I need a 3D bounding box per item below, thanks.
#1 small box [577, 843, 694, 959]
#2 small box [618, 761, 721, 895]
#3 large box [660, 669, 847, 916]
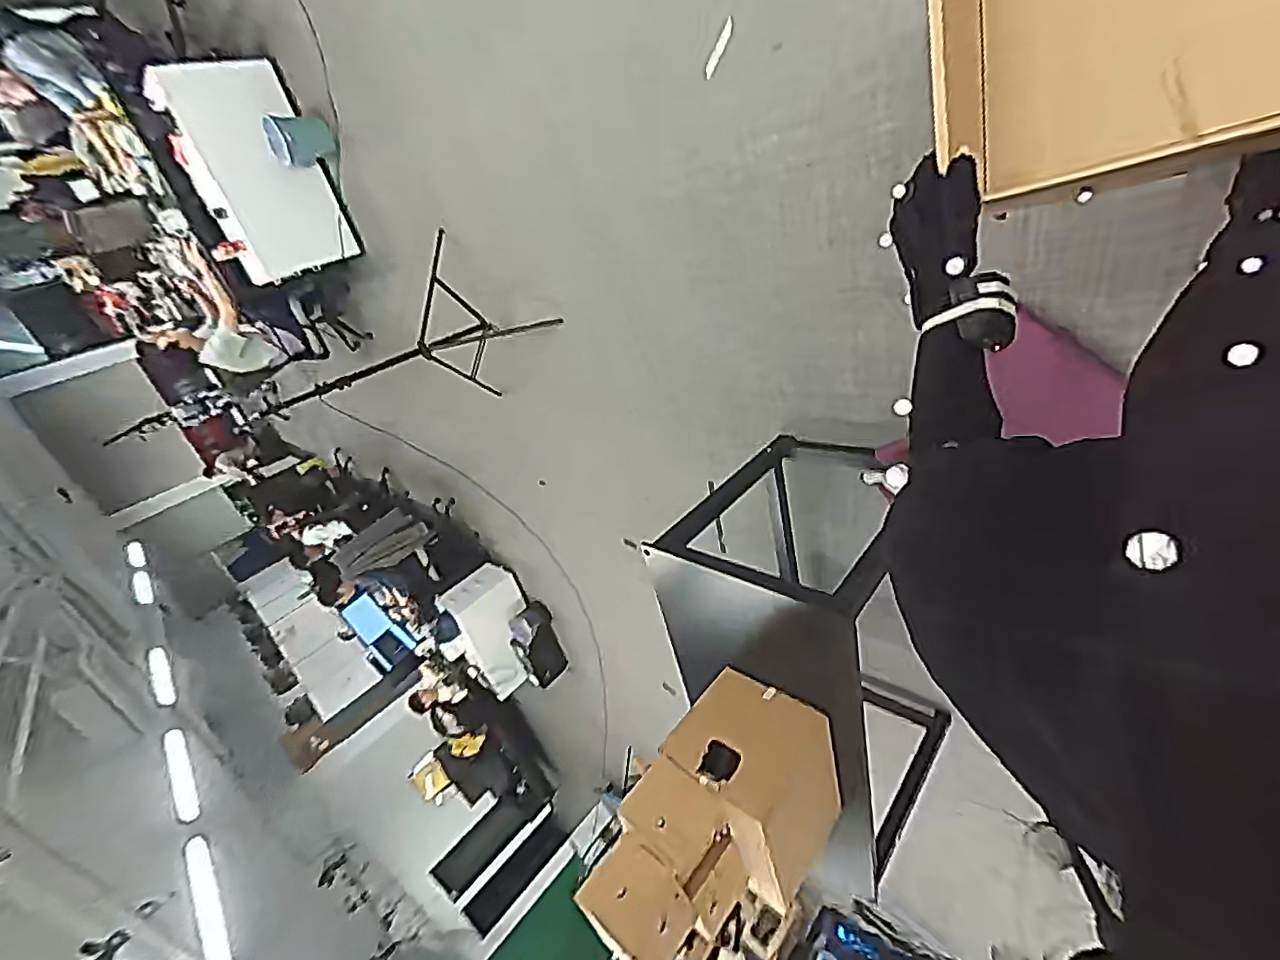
[{"bbox_3d":[-0.002,0.961,1.203,0.179,0.176,0.168,-4,116,51],"label":"small box"},{"bbox_3d":[0.078,0.802,1.259,0.179,0.176,0.168,24,137,38],"label":"small box"},{"bbox_3d":[0.307,0.788,1.408,0.320,0.320,0.408,11,126,45],"label":"large box"}]
